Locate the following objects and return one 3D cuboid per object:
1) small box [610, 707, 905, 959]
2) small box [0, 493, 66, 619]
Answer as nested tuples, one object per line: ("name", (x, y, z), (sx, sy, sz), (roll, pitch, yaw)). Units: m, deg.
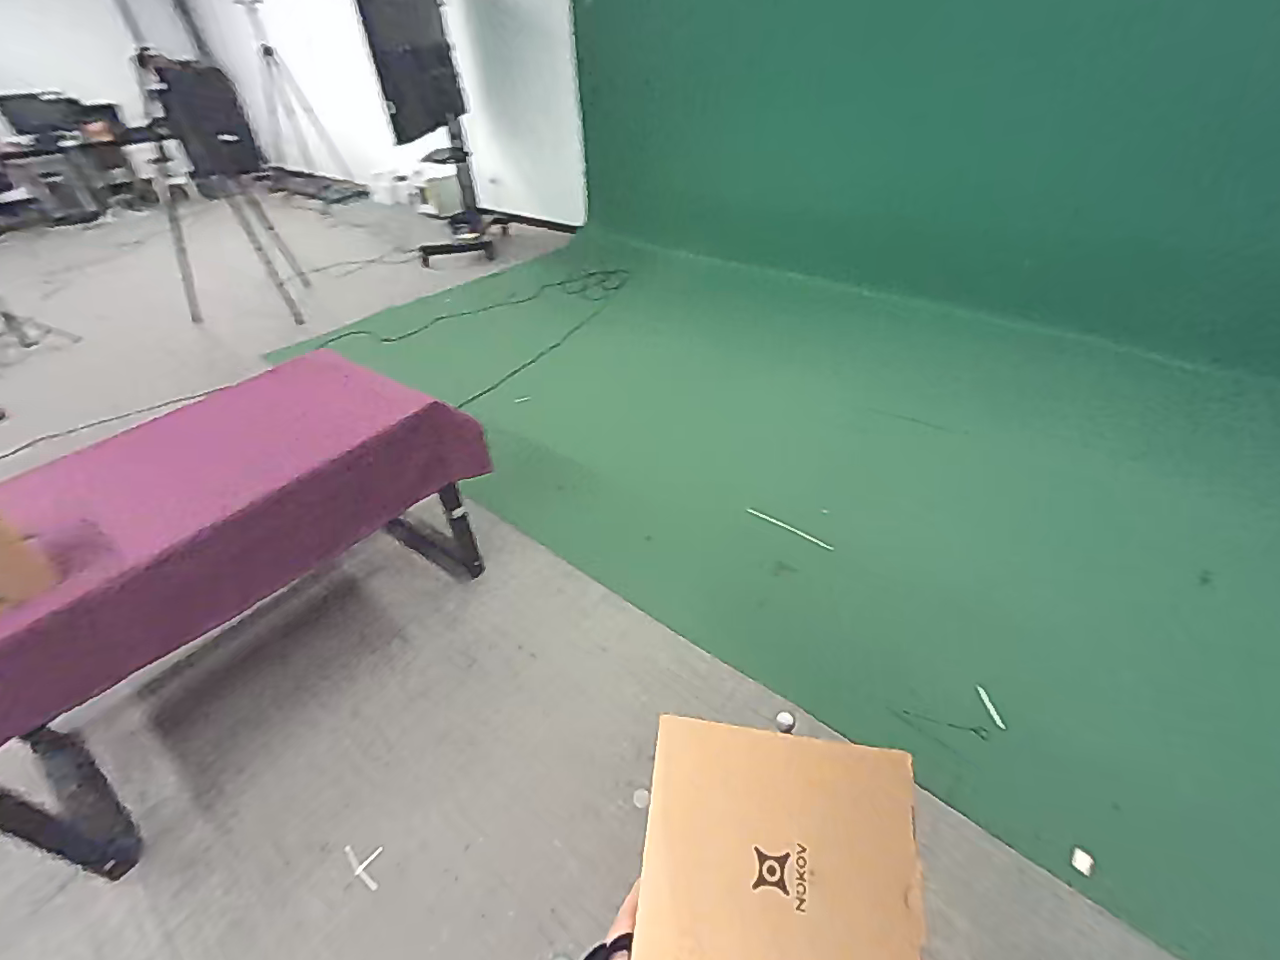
("small box", (0.081, 0.282, 0.417), (0.179, 0.176, 0.168), (6, 64, 6))
("small box", (-1.235, 0.155, 1.005), (0.168, 0.176, 0.179), (25, 46, 30))
